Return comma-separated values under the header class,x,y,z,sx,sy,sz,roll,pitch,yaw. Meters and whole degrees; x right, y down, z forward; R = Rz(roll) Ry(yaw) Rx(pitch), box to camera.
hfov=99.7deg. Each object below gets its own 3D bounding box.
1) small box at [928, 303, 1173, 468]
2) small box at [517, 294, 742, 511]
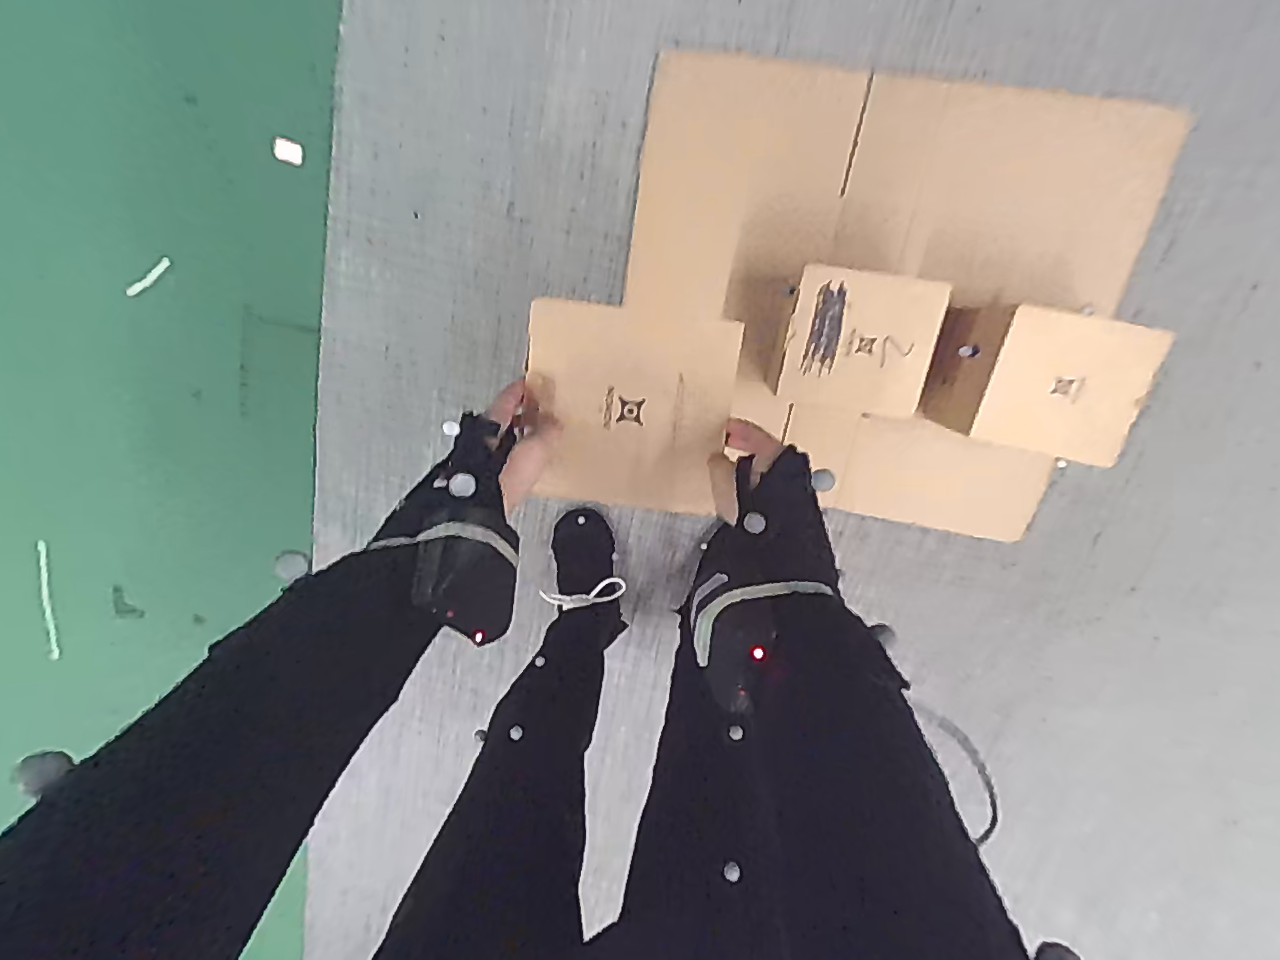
class,x,y,z,sx,sy,sz,roll,pitch,yaw
small box,0.515,-0.129,0.716,0.179,0.176,0.168,13,107,5
small box,-0.011,-0.080,0.534,0.179,0.176,0.168,7,104,-1
